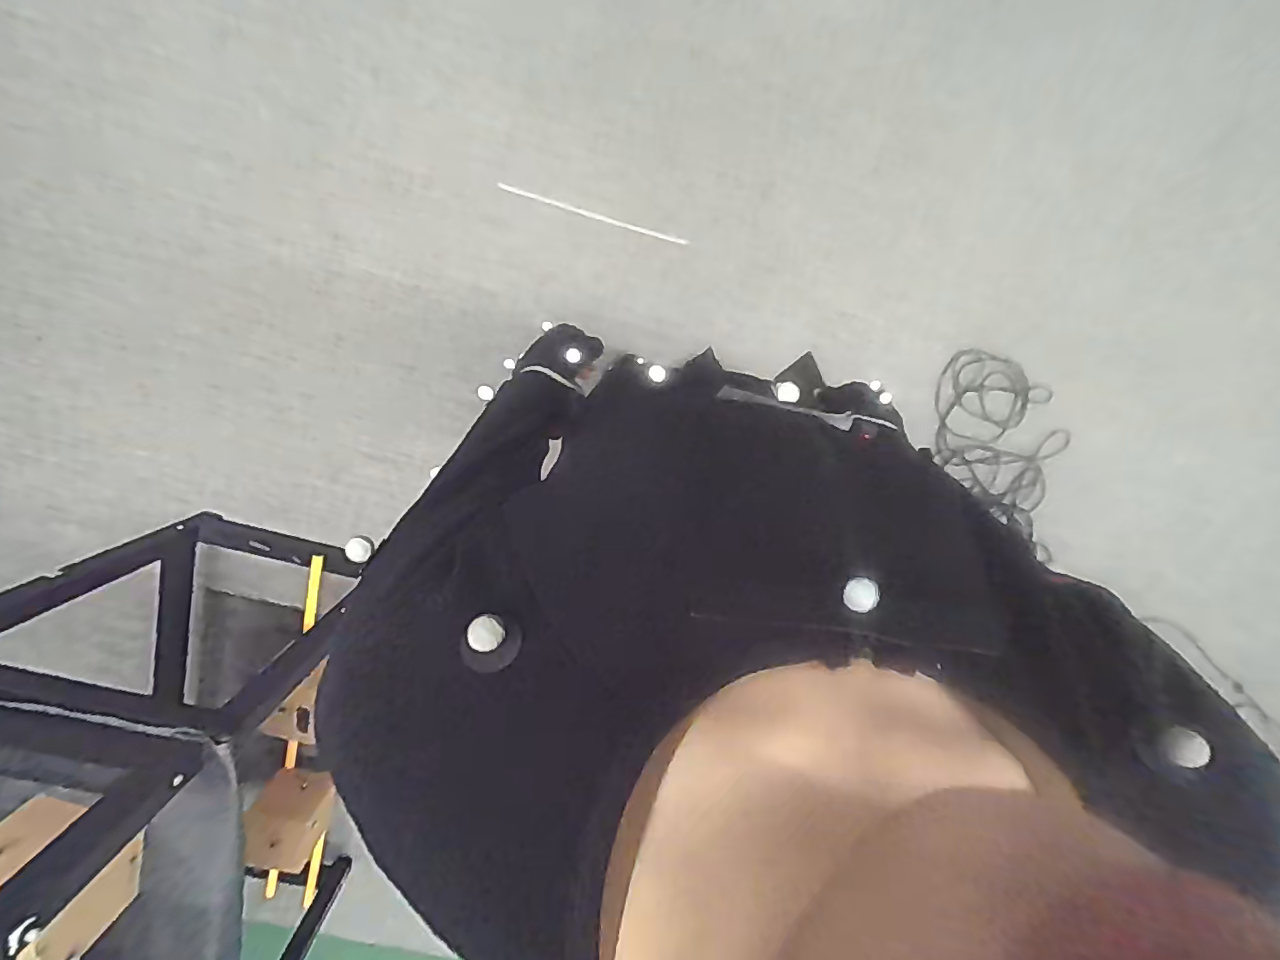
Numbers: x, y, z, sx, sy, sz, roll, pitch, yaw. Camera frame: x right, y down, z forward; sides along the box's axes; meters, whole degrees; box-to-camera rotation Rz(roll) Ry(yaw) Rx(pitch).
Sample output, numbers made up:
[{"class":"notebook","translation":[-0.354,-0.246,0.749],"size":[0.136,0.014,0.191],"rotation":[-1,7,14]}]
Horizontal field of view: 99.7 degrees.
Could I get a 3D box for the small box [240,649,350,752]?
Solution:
[{"class":"small box","translation":[-0.897,0.572,1.422],"size":[0.179,0.176,0.168],"rotation":[18,103,-6]}]
